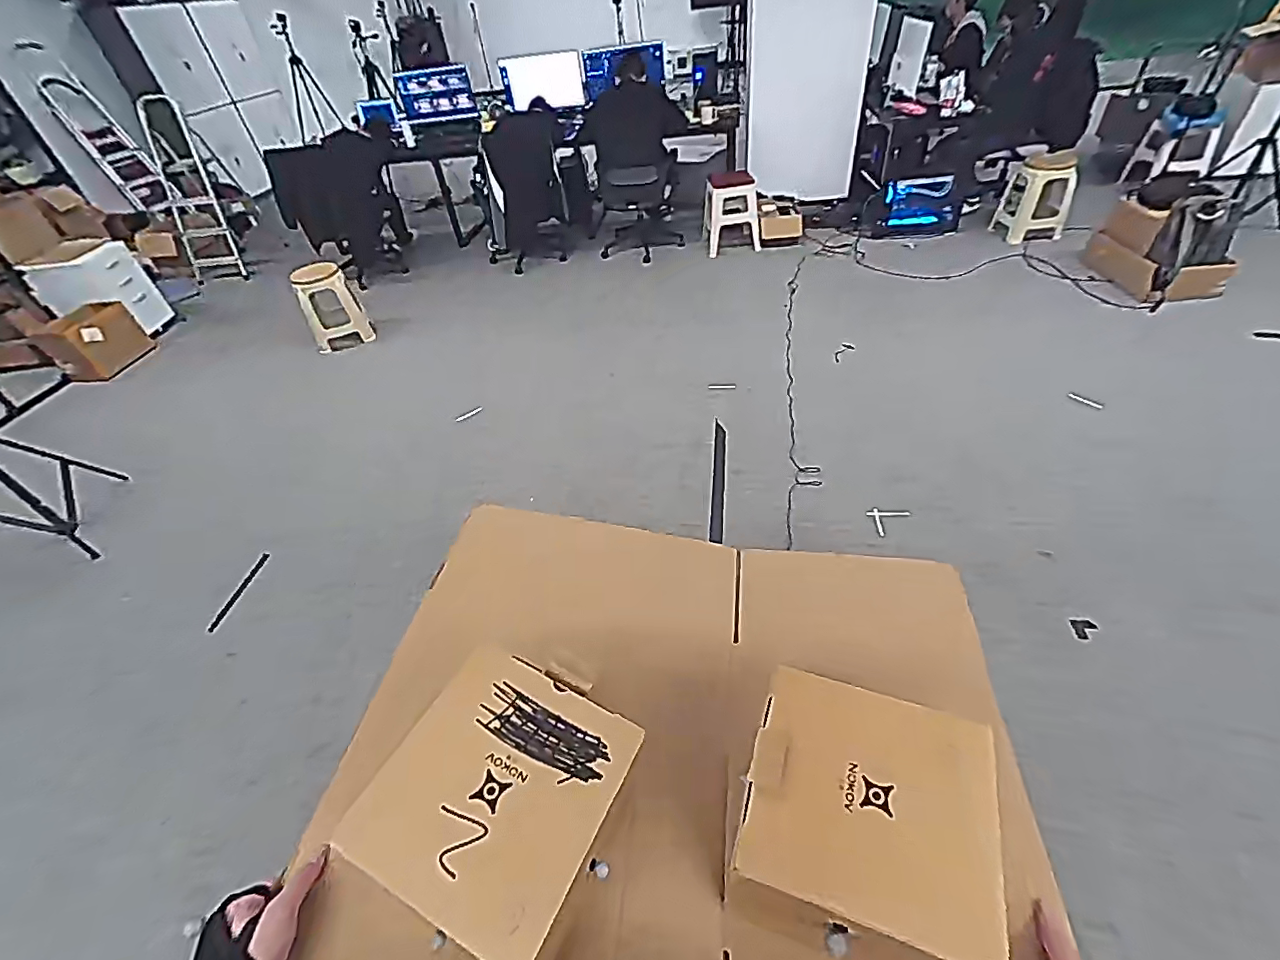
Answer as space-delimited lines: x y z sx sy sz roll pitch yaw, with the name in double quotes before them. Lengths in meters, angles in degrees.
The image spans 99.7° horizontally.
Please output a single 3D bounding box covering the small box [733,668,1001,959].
"small box" 0.187 0.301 0.478 0.179 0.176 0.168 10 47 19
